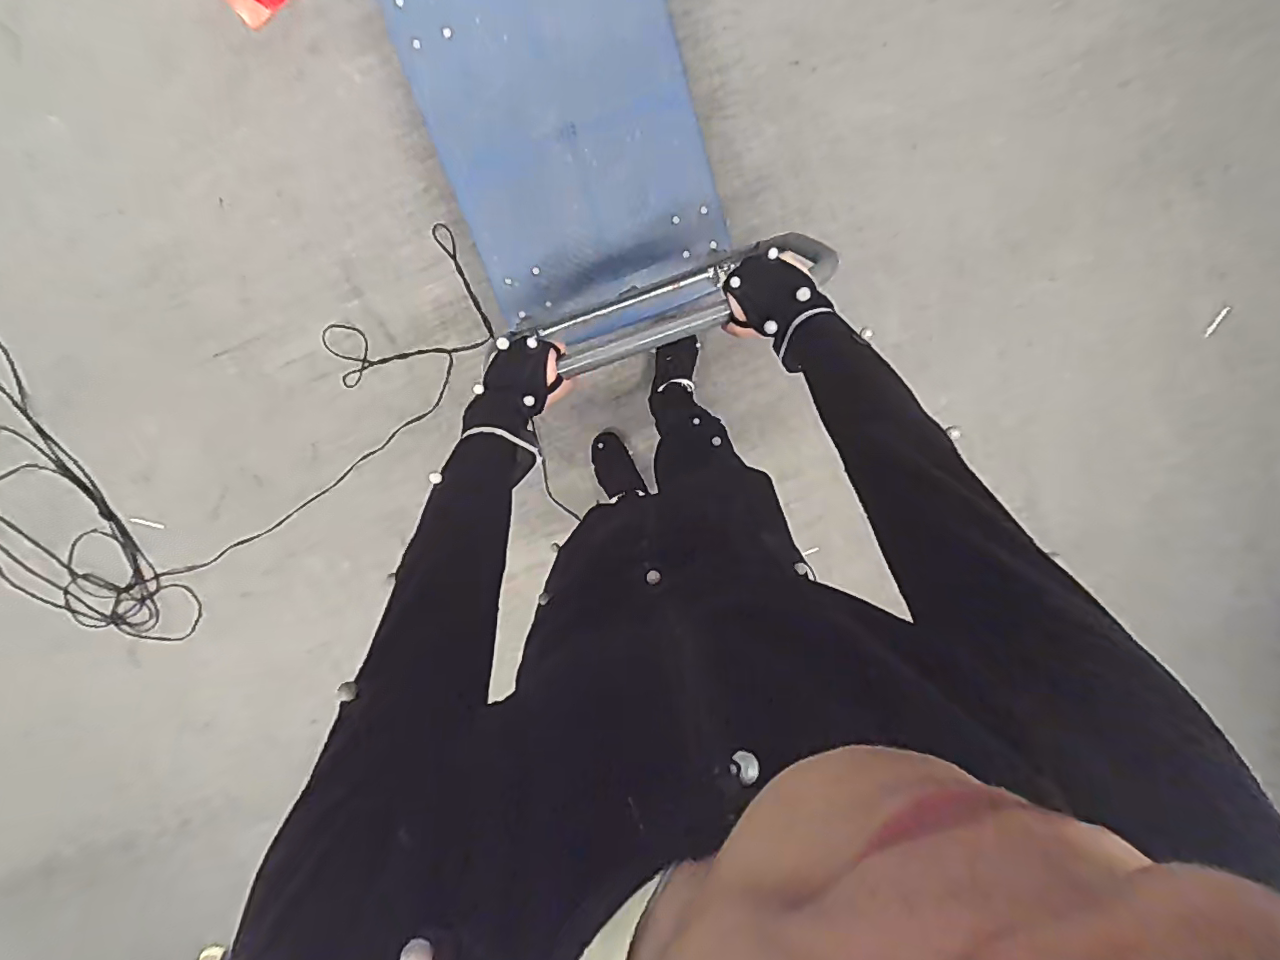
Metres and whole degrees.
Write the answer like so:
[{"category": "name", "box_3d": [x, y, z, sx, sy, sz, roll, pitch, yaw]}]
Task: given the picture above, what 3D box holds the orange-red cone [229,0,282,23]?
[{"category": "orange-red cone", "box_3d": [-0.883, -1.142, 1.066, 0.199, 0.360, 0.198, -35, 103, 8]}]
